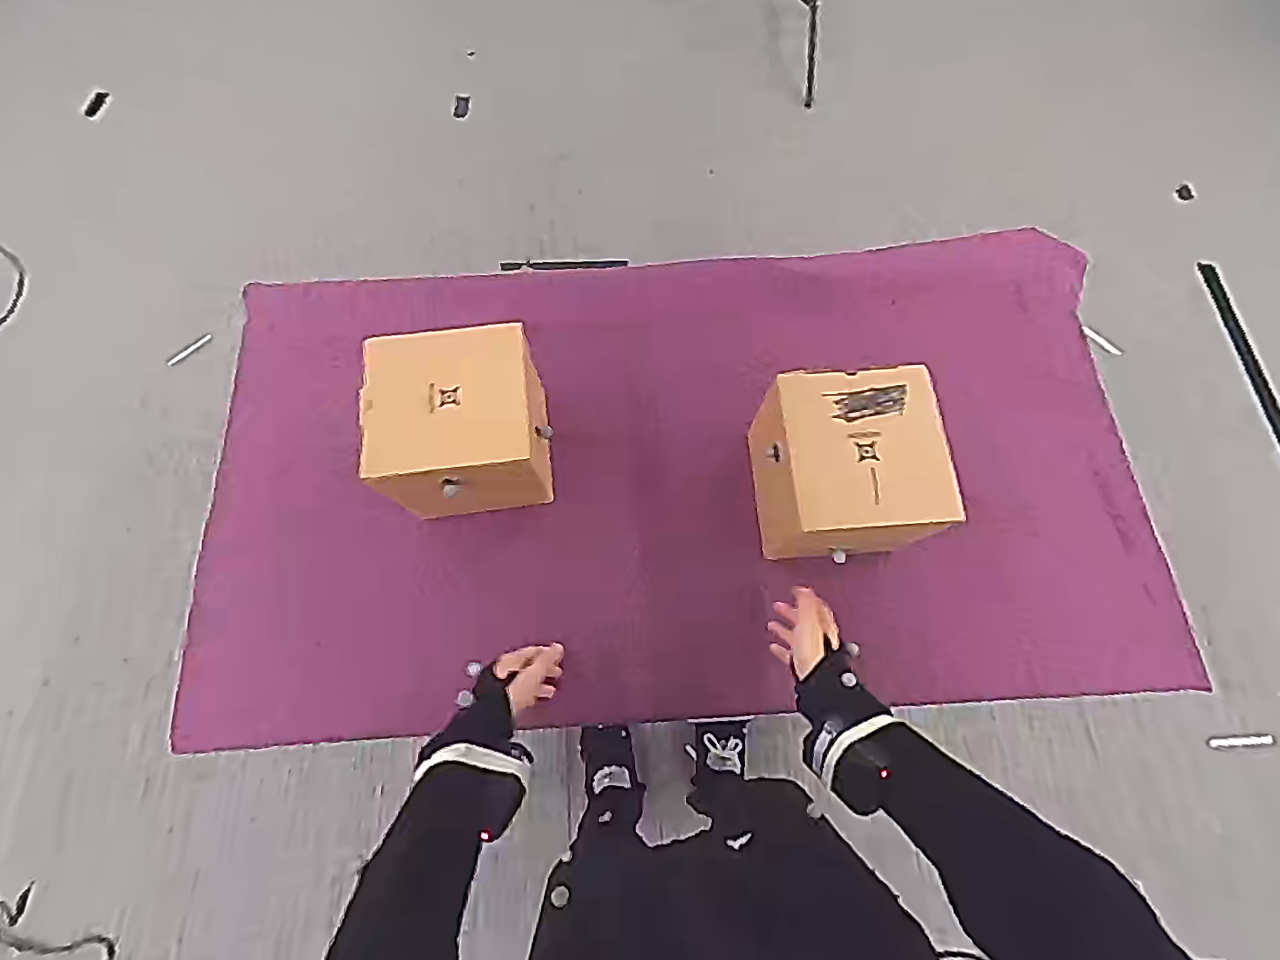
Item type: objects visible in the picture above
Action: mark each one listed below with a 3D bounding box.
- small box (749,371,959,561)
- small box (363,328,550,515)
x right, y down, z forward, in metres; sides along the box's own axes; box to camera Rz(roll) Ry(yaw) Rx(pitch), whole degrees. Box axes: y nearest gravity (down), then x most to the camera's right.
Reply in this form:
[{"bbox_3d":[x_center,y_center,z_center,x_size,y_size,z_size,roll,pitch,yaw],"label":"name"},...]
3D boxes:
[{"bbox_3d":[0.231,-0.009,0.636,0.168,0.176,0.179,-3,73,-1],"label":"small box"},{"bbox_3d":[-0.208,-0.061,0.655,0.179,0.176,0.168,-7,73,-2],"label":"small box"}]
